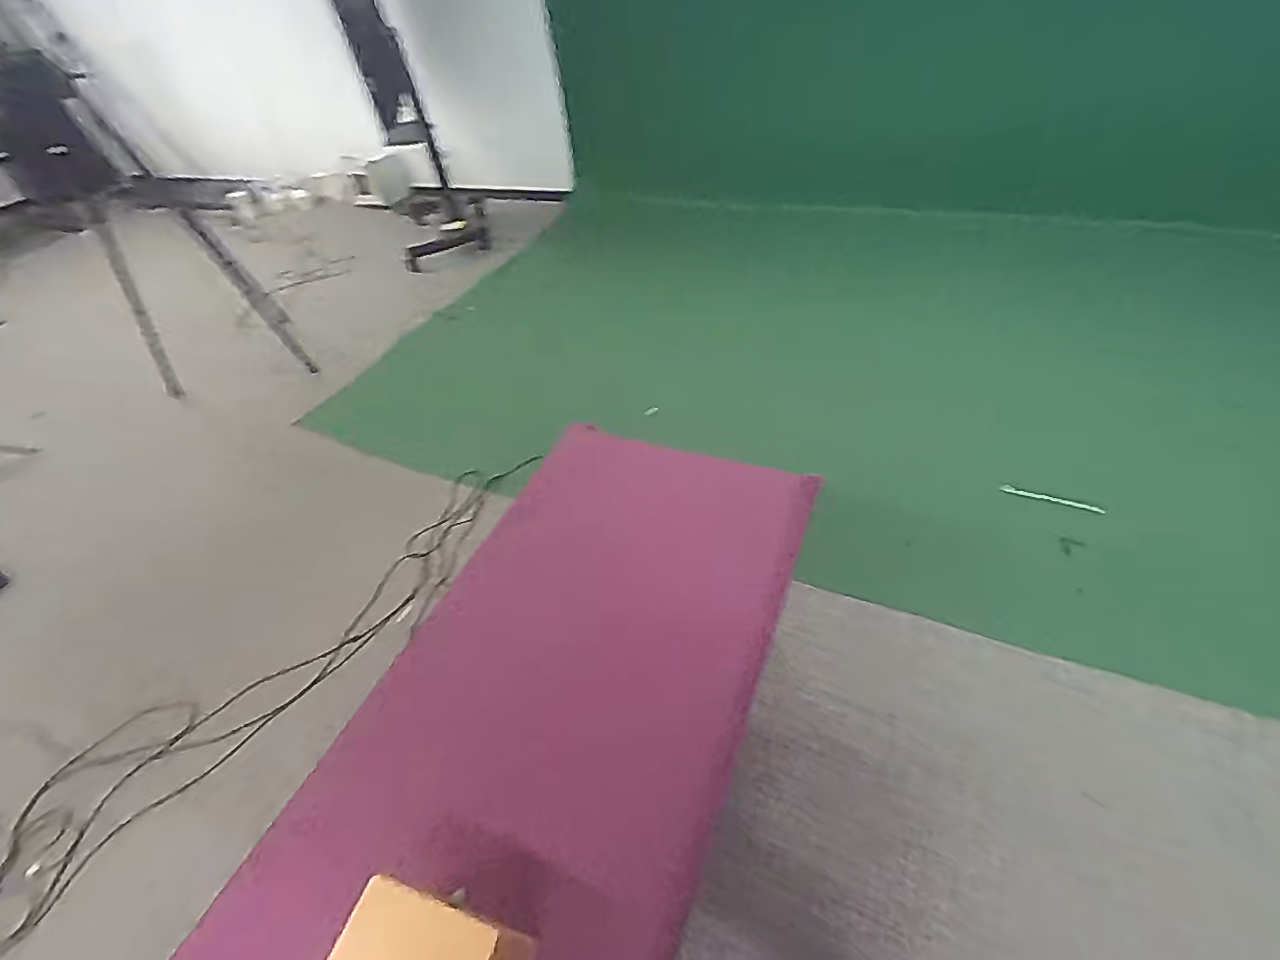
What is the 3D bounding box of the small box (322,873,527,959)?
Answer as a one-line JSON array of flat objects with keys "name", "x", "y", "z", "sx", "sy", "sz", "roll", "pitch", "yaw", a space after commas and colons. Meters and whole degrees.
[{"name": "small box", "x": -0.255, "y": 0.588, "z": 0.616, "sx": 0.179, "sy": 0.176, "sz": 0.168, "roll": 10, "pitch": 48, "yaw": 17}]
